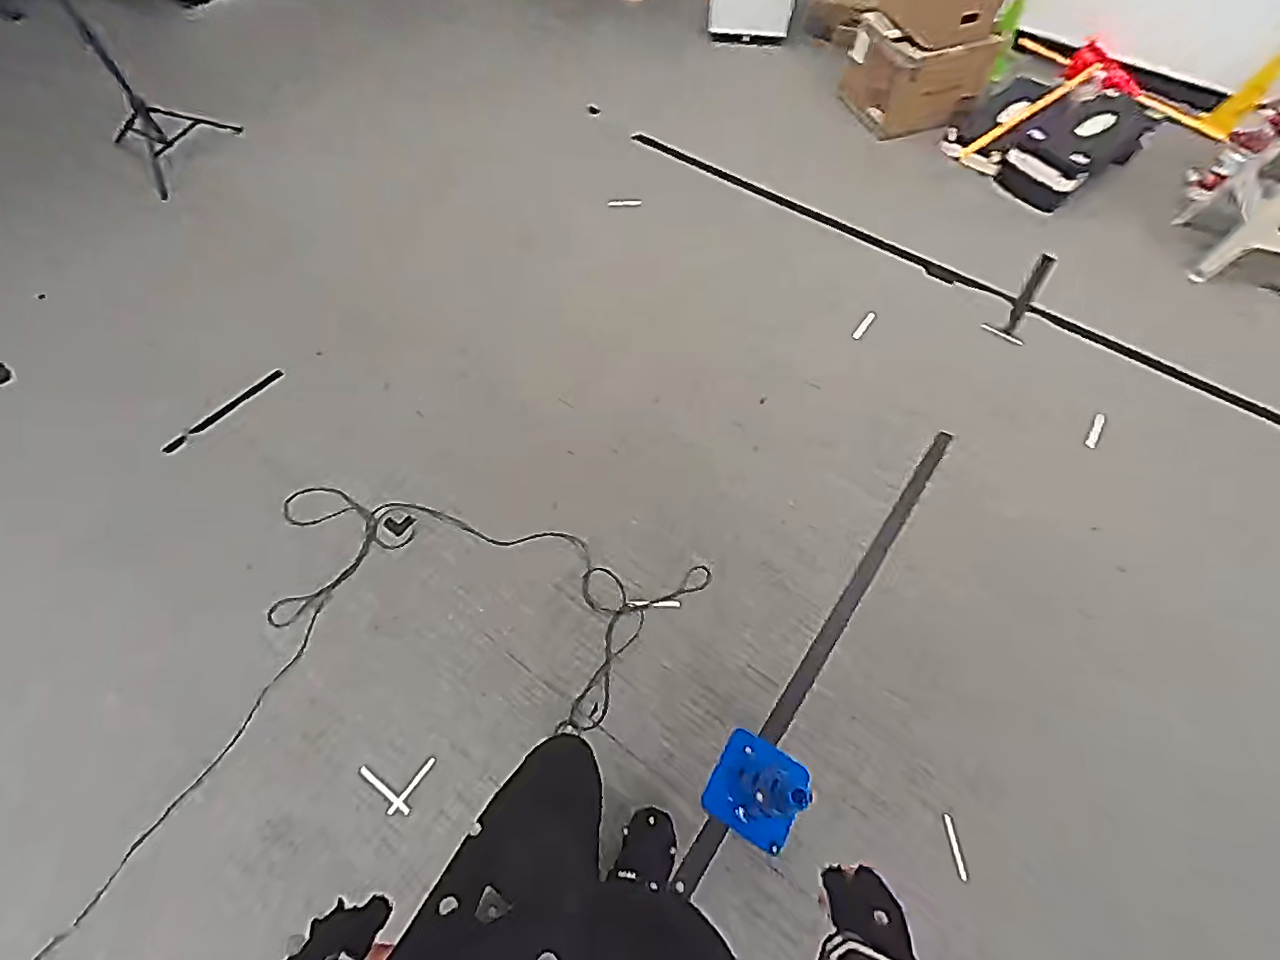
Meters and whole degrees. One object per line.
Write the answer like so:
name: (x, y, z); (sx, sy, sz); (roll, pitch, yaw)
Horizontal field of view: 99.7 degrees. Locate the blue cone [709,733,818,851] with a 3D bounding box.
blue cone: (0.273, 0.636, 1.098); (0.192, 0.380, 0.193); (32, 66, 13)
